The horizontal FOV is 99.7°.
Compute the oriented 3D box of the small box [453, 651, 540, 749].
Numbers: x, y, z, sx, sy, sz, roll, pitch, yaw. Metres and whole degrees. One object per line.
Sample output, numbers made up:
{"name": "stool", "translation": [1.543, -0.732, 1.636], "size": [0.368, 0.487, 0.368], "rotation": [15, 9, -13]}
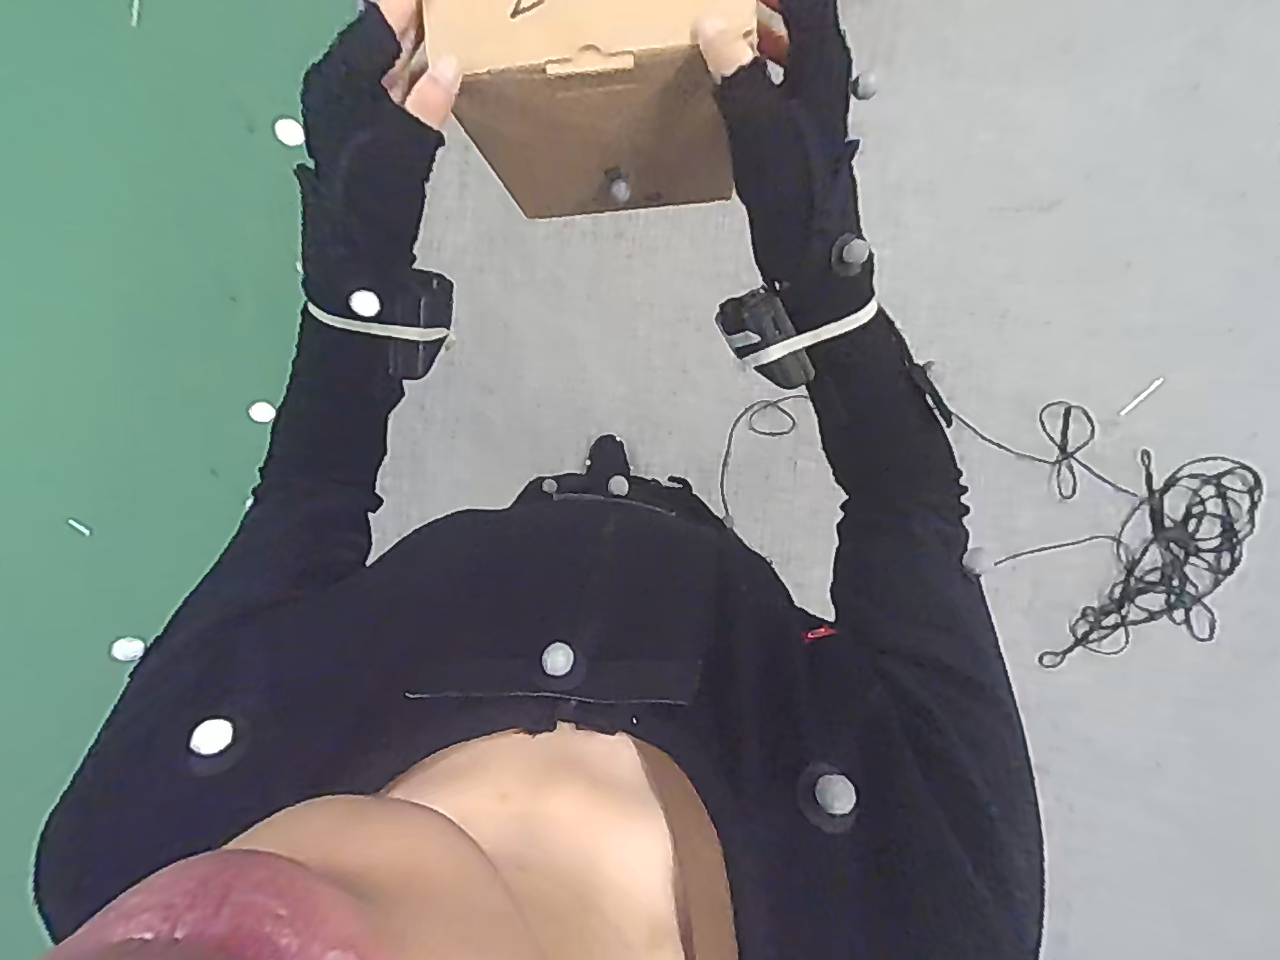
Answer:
{"name": "small box", "translation": [-0.366, 0.563, 1.401], "size": [0.168, 0.176, 0.179], "rotation": [6, 89, 4]}

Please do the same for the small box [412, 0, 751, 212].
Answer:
{"name": "small box", "translation": [-0.024, -0.297, 0.336], "size": [0.168, 0.176, 0.179], "rotation": [-2, 92, 6]}
